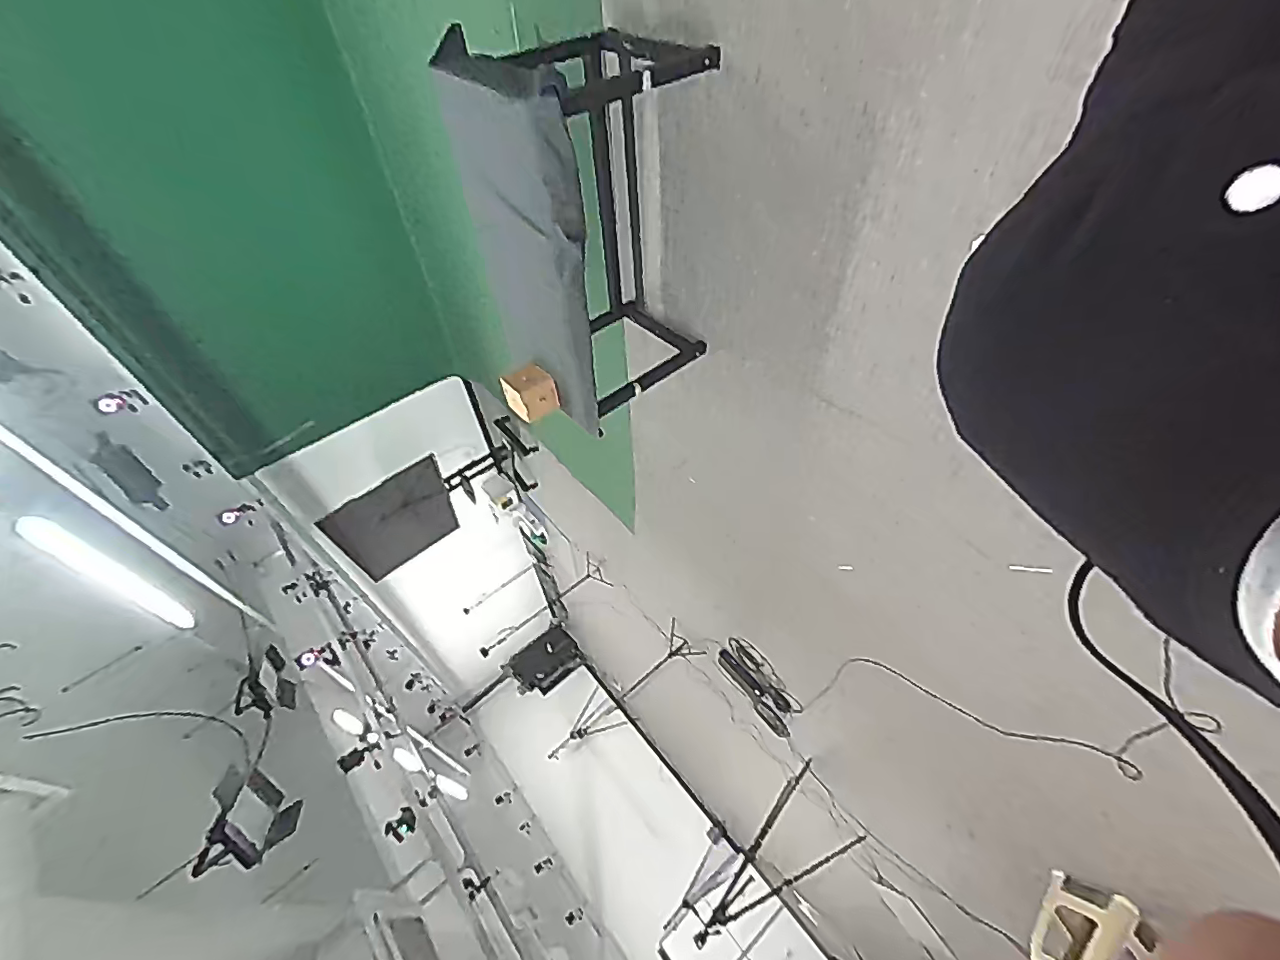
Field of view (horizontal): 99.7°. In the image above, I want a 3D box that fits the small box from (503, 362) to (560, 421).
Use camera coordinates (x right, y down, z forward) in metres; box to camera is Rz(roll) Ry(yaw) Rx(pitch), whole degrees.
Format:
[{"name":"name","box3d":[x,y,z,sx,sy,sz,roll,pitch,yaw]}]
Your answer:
[{"name":"small box","box3d":[-0.468,-0.395,2.384,0.179,0.176,0.168,38,151,35]}]
